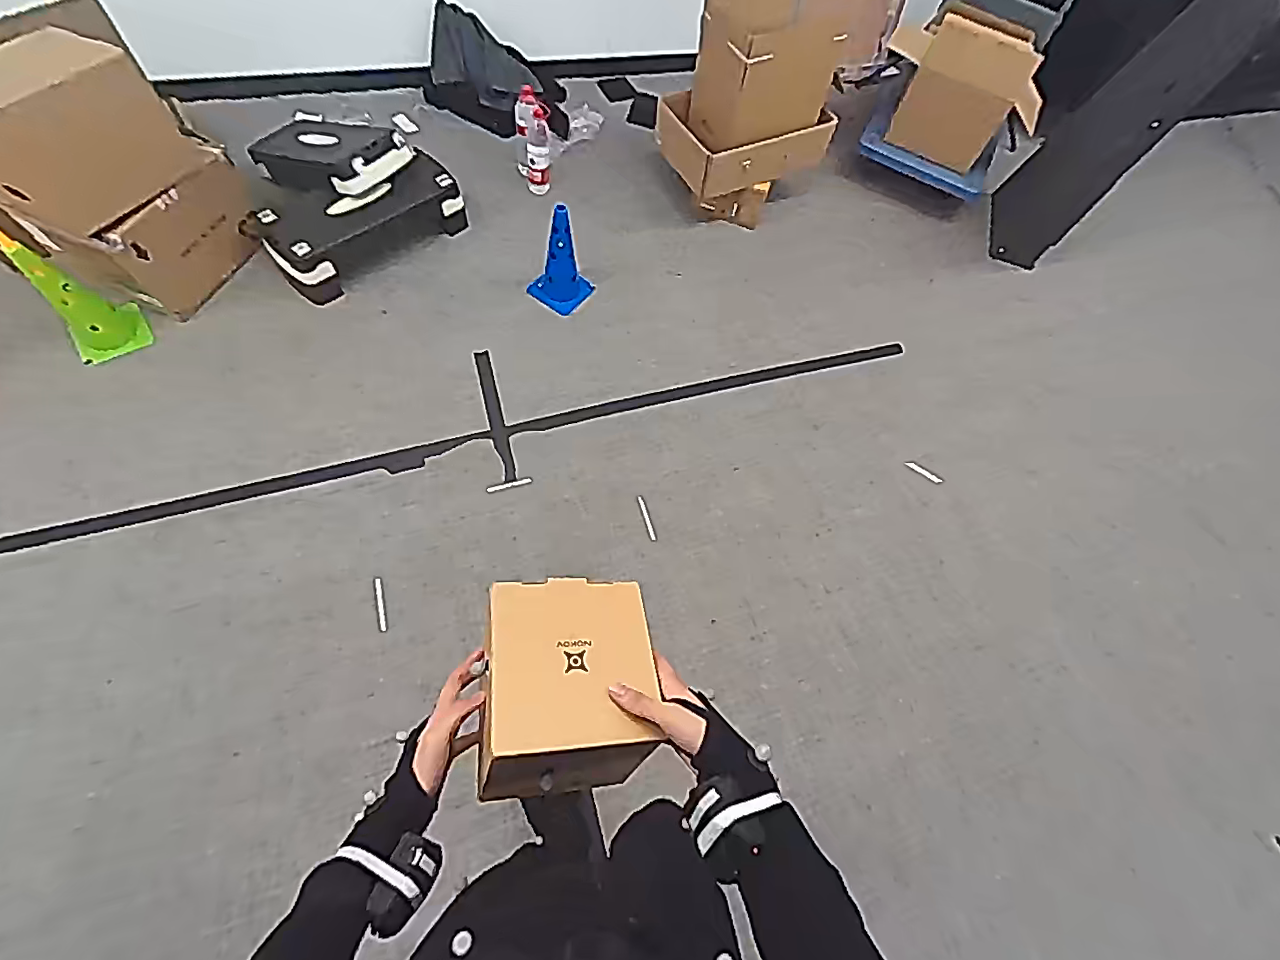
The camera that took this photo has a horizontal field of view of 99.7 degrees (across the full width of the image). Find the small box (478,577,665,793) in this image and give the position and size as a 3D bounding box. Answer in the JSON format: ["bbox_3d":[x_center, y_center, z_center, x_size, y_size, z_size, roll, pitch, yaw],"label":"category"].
[{"bbox_3d":[-0.086,0.225,0.593,0.168,0.176,0.179,3,47,-18],"label":"small box"}]
